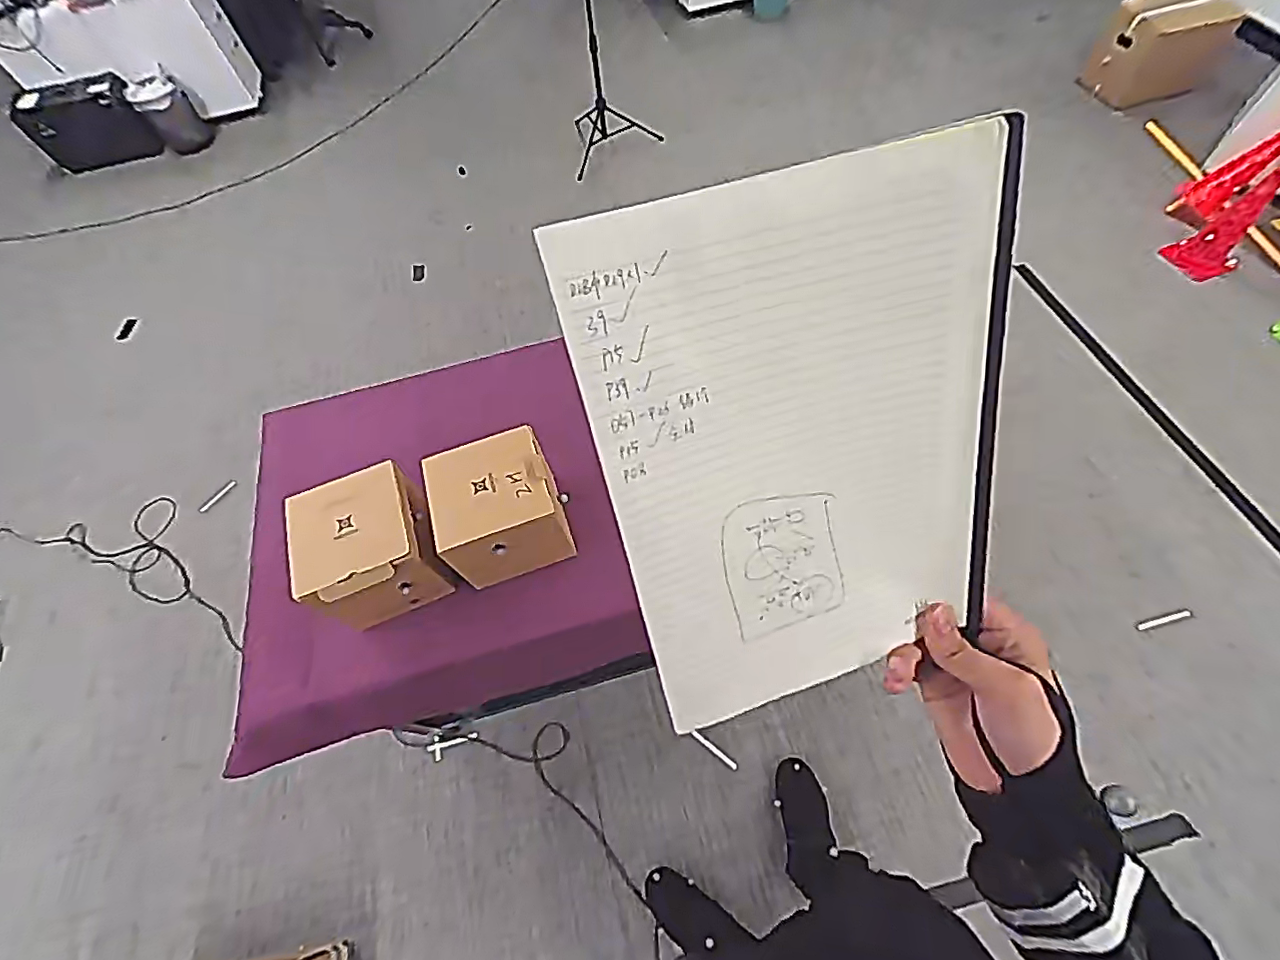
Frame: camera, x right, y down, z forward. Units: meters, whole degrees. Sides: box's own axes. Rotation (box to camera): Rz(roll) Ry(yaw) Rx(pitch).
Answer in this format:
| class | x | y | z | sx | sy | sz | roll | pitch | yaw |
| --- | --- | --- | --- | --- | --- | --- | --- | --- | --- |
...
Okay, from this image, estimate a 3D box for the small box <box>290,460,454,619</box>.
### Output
| class | x | y | z | sx | sy | sz | roll | pitch | yaw |
| --- | --- | --- | --- | --- | --- | --- | --- | --- | --- |
| small box | -0.415 | 0.104 | 0.855 | 0.168 | 0.176 | 0.179 | -22 | 61 | -7 |
